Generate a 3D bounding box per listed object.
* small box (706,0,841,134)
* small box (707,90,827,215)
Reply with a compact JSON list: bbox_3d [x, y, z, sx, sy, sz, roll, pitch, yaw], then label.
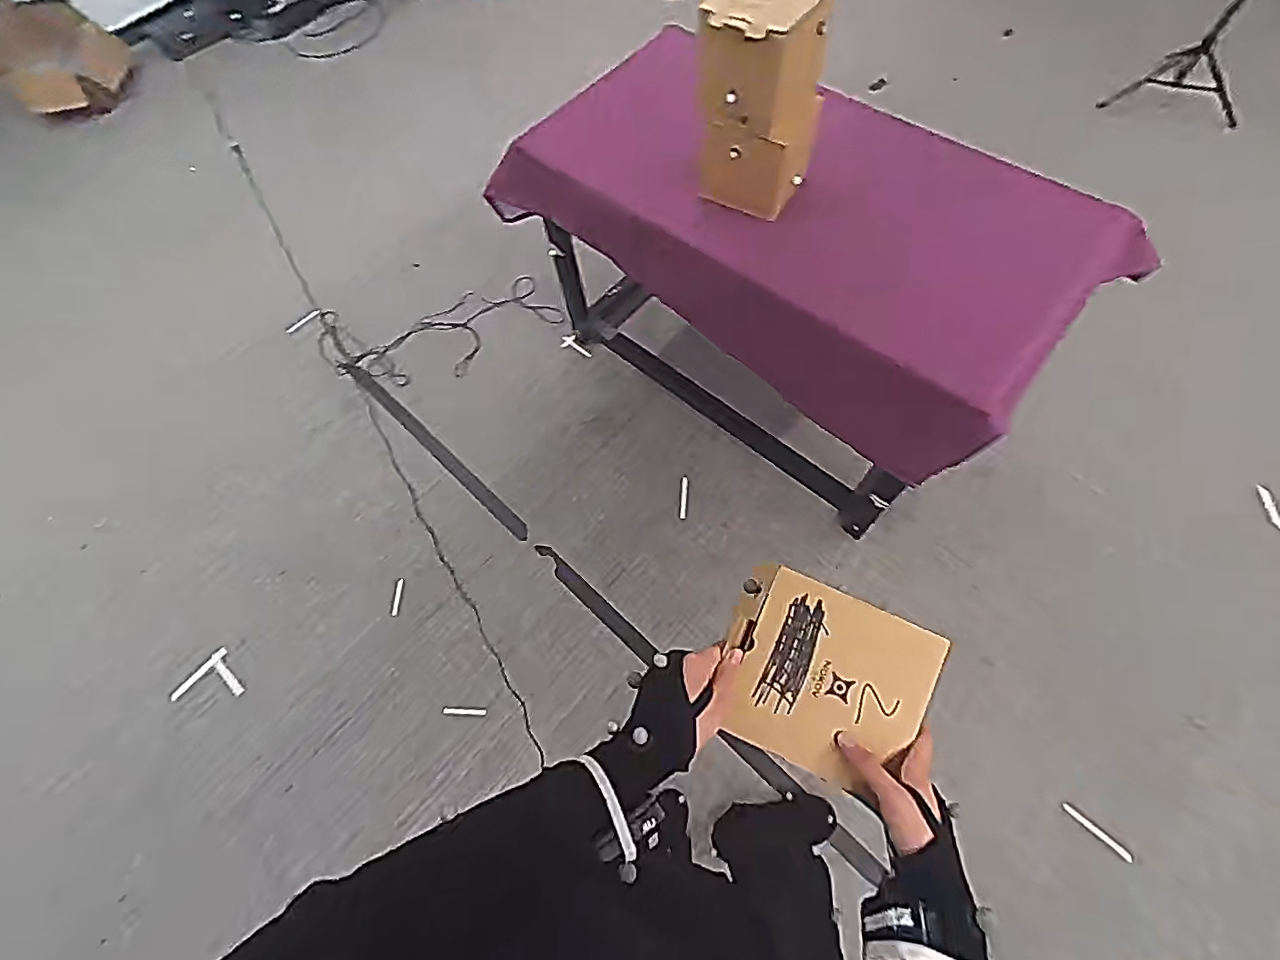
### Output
[{"bbox_3d":[0.226,-0.764,0.960,0.168,0.176,0.179,33,72,18],"label":"small box"},{"bbox_3d":[0.249,-0.677,1.101,0.179,0.176,0.168,29,71,15],"label":"small box"}]
